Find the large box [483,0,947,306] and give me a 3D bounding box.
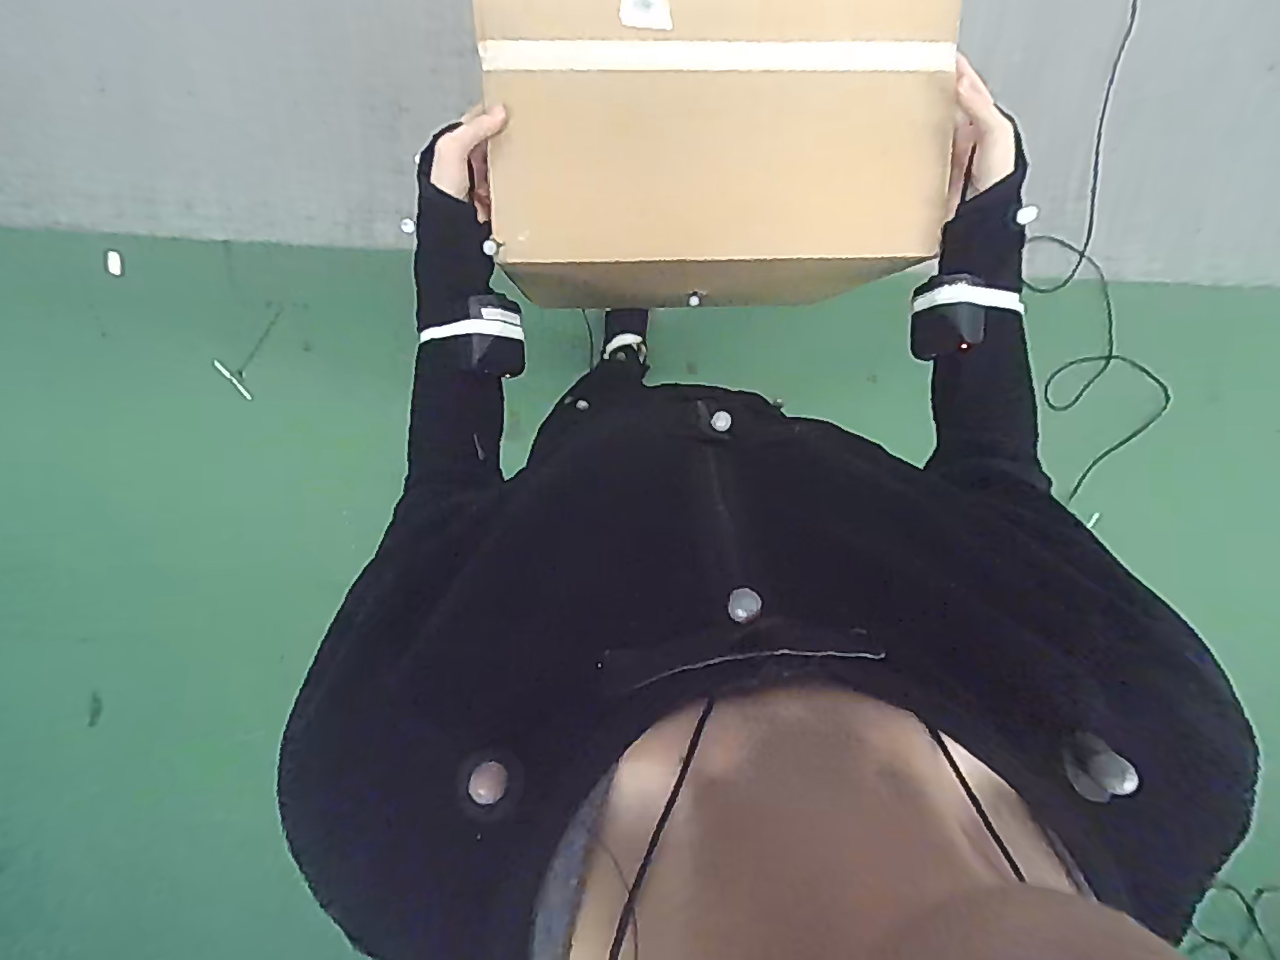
[{"bbox_3d":[0.063,-0.381,0.614,0.408,0.320,0.320,-2,99,-2],"label":"large box"}]
